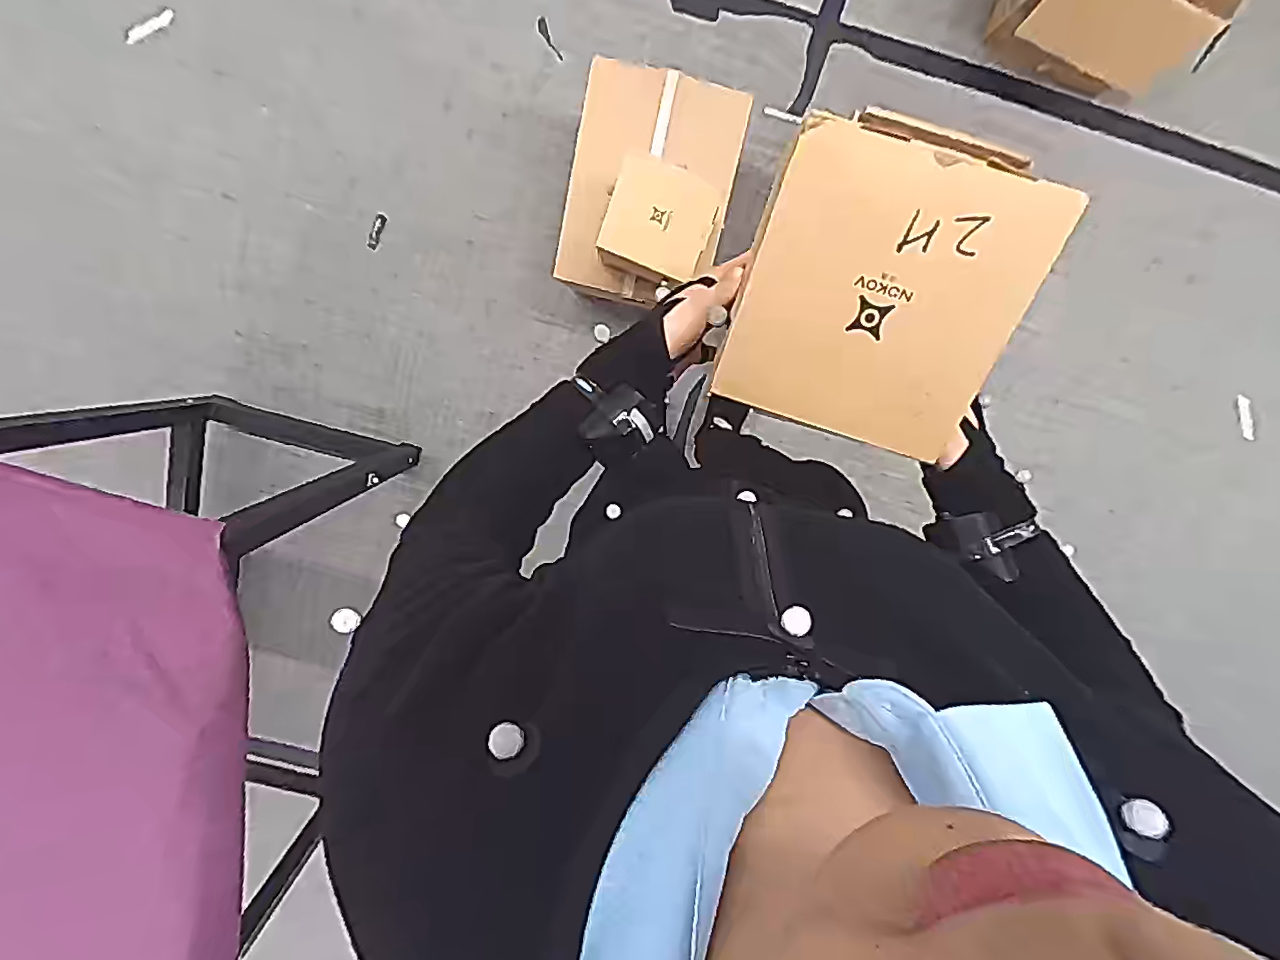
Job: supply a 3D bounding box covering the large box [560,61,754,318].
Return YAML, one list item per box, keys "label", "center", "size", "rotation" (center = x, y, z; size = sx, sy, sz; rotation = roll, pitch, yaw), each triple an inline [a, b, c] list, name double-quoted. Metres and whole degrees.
- label: "large box"
  center: [0.028, -0.598, 1.194]
  size: [0.320, 0.320, 0.408]
  rotation: [13, 105, -1]

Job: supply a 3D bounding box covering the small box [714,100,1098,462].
- label: "small box"
  center: [0.165, -0.143, 0.405]
  size: [0.168, 0.176, 0.179]
  rotation: [19, 115, 1]
